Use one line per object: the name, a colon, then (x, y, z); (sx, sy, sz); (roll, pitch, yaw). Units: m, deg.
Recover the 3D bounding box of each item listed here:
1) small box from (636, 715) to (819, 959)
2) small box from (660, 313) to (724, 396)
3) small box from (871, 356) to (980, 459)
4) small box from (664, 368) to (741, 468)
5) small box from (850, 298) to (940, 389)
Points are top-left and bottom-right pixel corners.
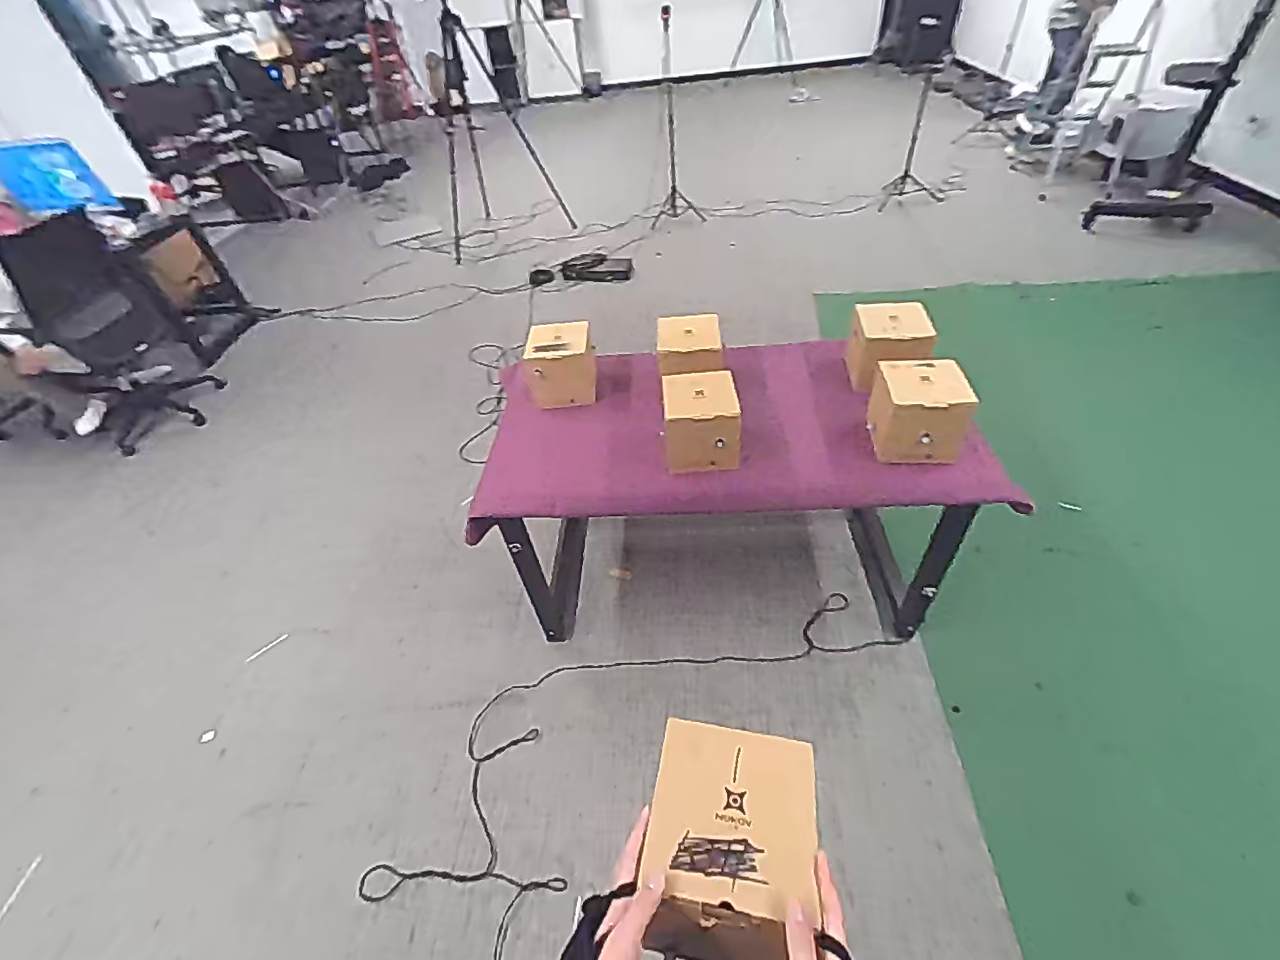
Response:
small box: (0.097, 0.393, 0.588); (0.168, 0.176, 0.179); (4, 35, 11)
small box: (0.140, -0.337, 1.479); (0.168, 0.176, 0.179); (-3, 46, 5)
small box: (0.634, -0.161, 1.224); (0.168, 0.176, 0.179); (1, 44, 10)
small box: (0.147, -0.140, 1.280); (0.168, 0.176, 0.179); (-4, 43, 3)
small box: (0.657, -0.356, 1.418); (0.168, 0.176, 0.179); (0, 46, 10)
